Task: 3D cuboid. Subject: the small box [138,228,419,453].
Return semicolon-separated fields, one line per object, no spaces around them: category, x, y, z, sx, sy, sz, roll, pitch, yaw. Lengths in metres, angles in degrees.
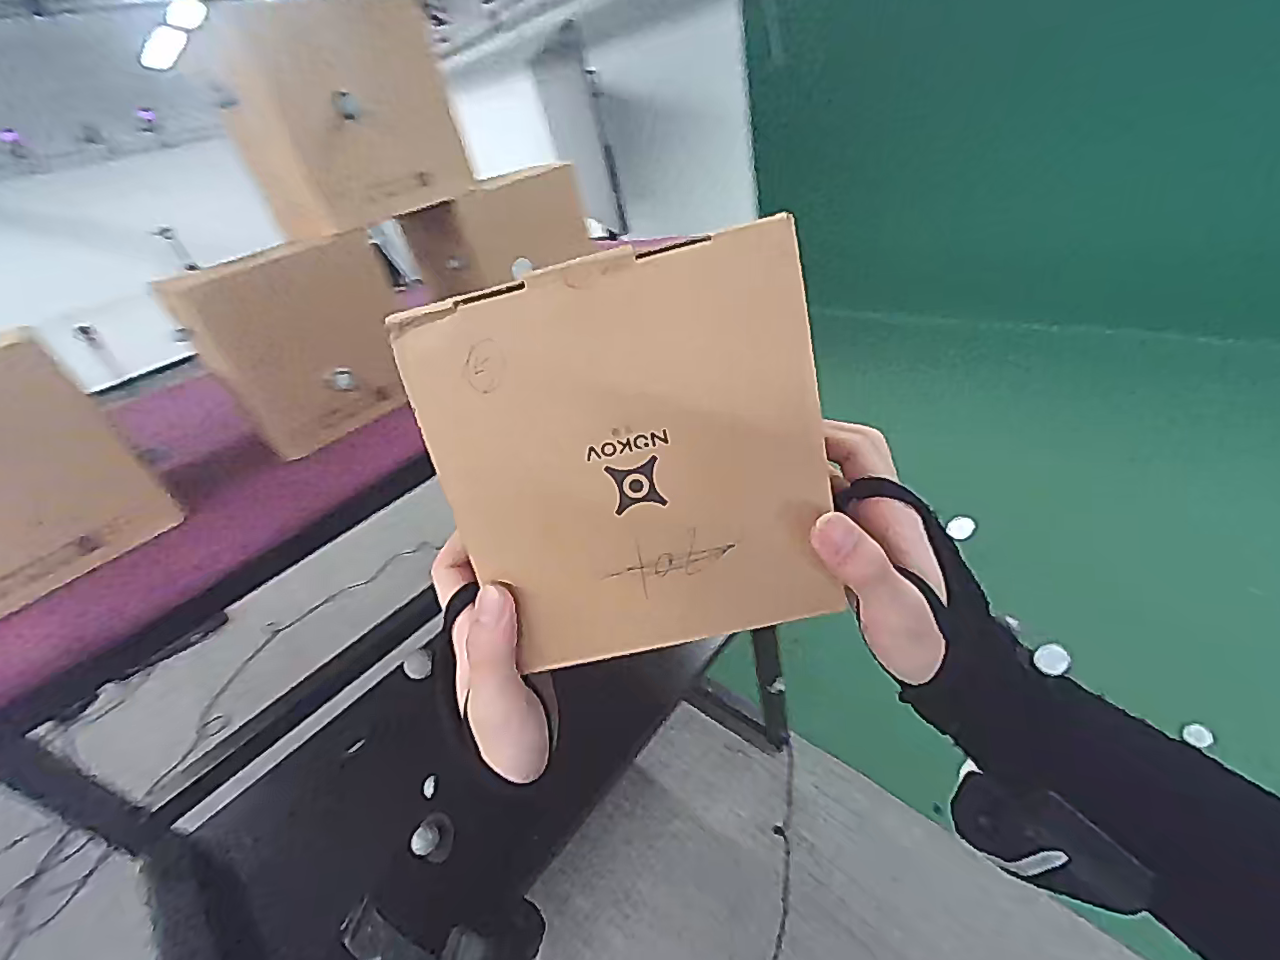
small box;-0.361;-0.146;0.561;0.179;0.176;0.168;20;47;40

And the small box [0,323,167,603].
small box;-0.526;-0.010;0.424;0.179;0.176;0.168;17;46;41

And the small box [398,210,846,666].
small box;0.000;-0.029;0.308;0.168;0.179;0.176;-12;18;5

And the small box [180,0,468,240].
small box;-0.305;-0.350;0.543;0.179;0.176;0.168;19;47;42
